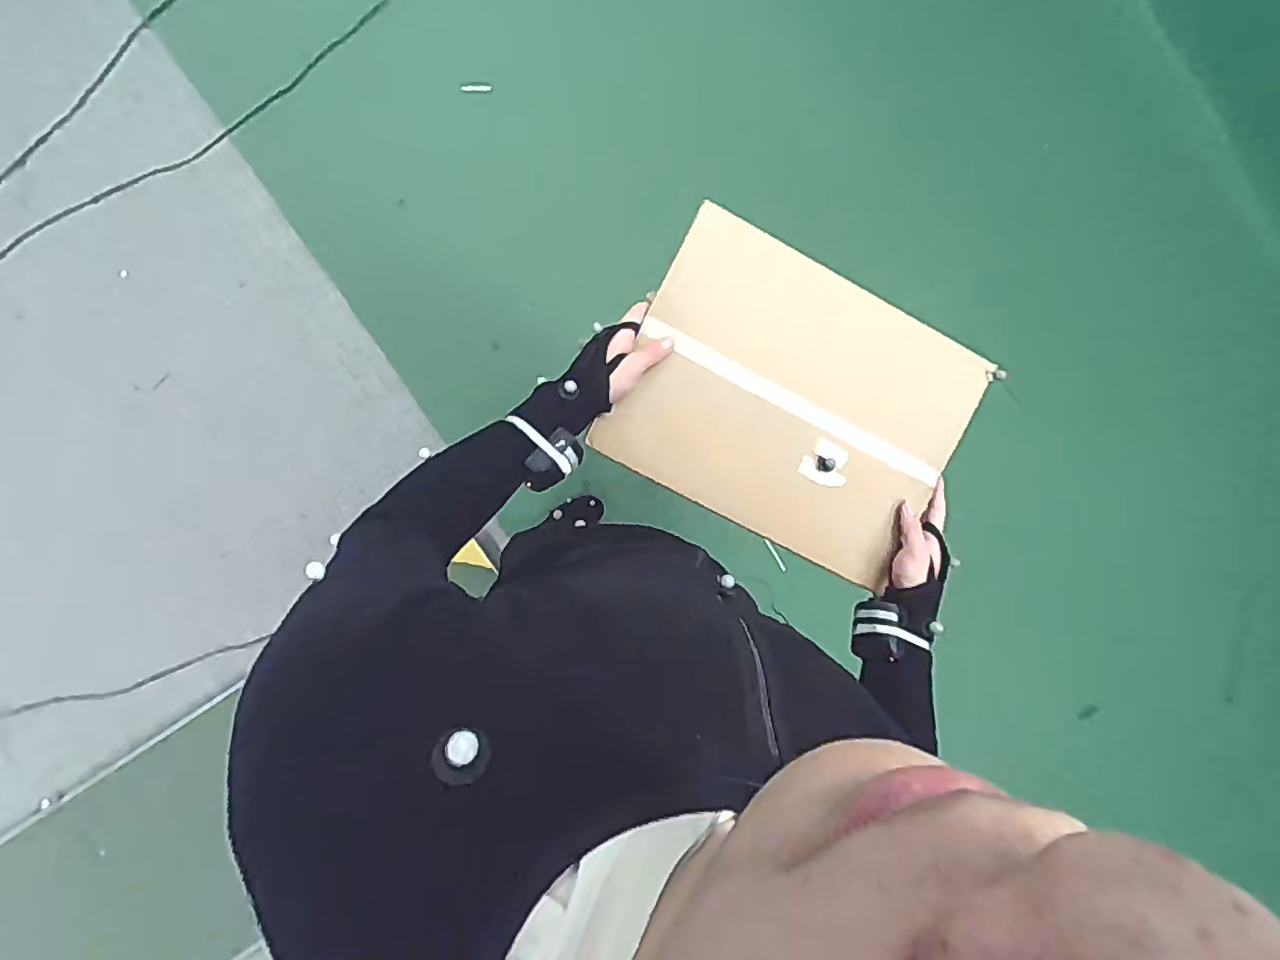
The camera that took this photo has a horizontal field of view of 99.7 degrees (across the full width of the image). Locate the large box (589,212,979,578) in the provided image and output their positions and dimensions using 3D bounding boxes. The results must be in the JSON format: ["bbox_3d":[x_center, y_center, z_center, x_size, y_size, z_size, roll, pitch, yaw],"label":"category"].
[{"bbox_3d":[0.166,-0.106,0.800,0.408,0.320,0.320,26,93,-6],"label":"large box"}]
